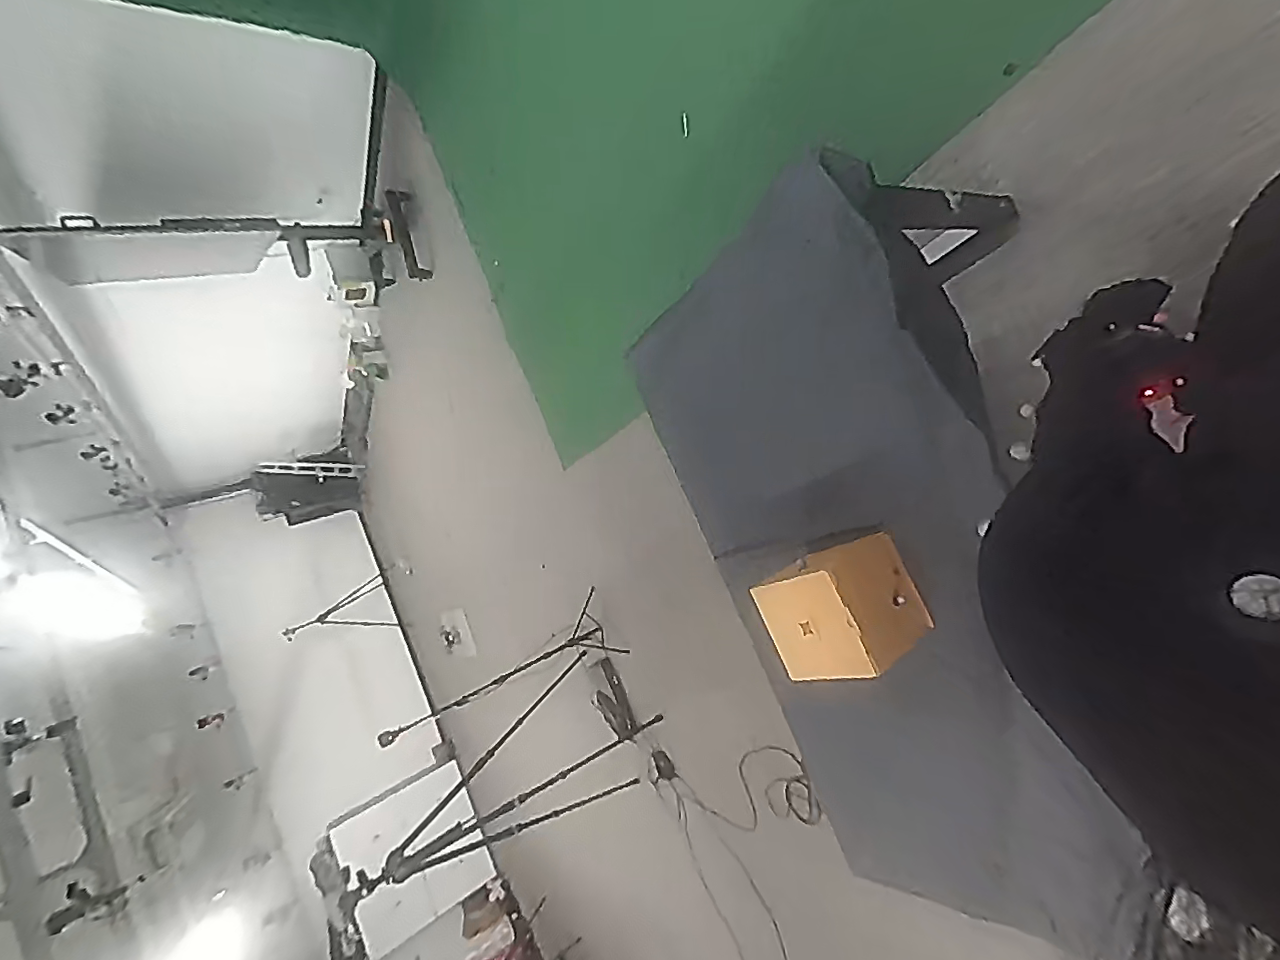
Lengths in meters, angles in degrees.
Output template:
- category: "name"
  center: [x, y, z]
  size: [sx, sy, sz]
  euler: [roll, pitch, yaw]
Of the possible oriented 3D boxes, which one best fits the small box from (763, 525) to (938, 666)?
- category: "small box"
  center: [0.346, 0.192, 0.895]
  size: [0.179, 0.176, 0.168]
  euler: [-35, 77, 54]
